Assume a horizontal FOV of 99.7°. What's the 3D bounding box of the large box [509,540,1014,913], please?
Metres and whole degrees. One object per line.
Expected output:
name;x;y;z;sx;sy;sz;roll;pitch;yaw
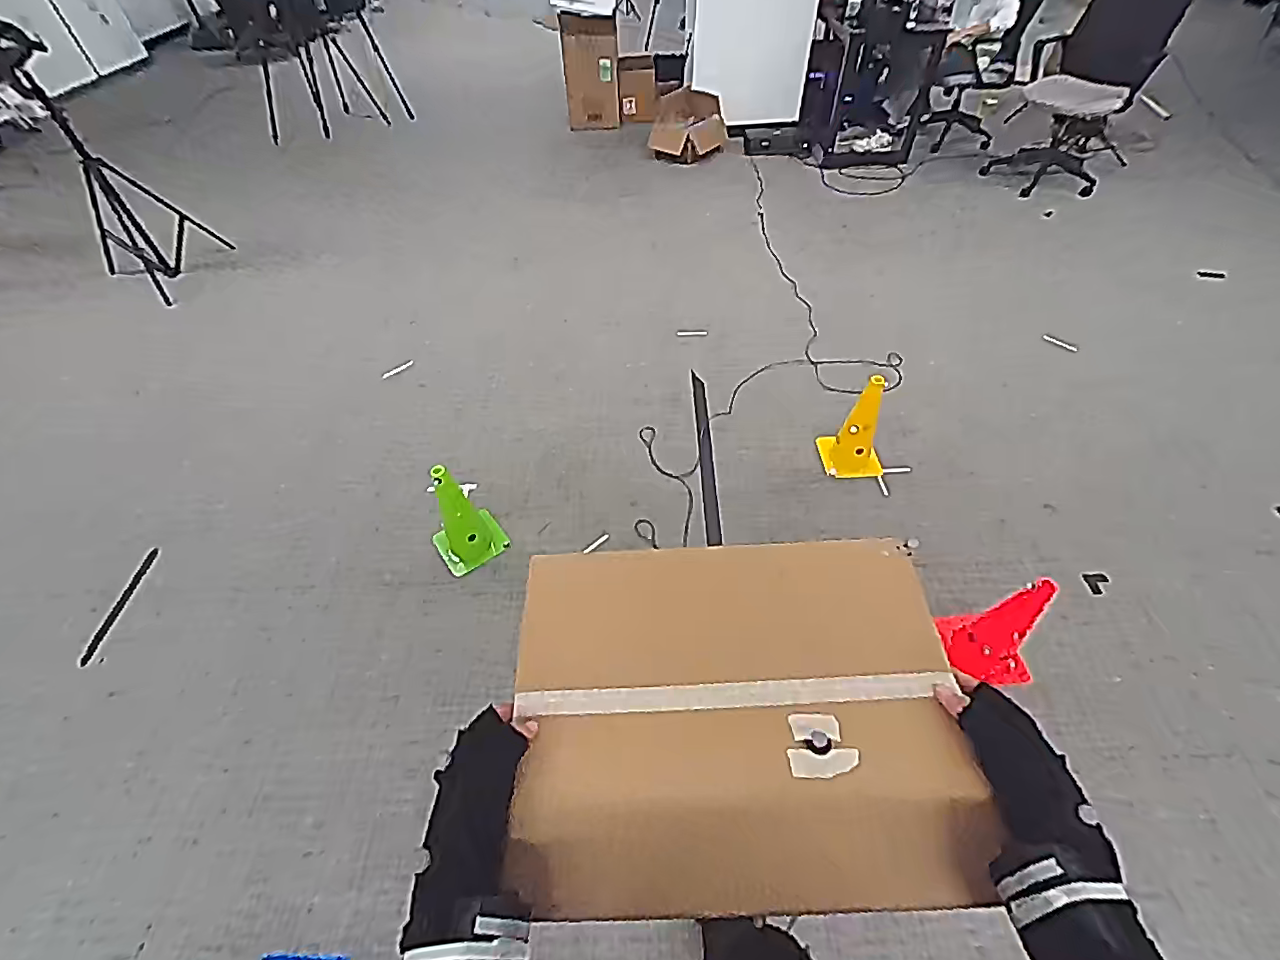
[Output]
large box;0.093;0.290;0.626;0.408;0.320;0.320;-3;53;1

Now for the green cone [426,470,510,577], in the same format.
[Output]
green cone;-0.561;0.095;1.640;0.202;0.368;0.200;-33;55;-21

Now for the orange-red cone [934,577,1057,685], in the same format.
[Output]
orange-red cone;0.928;0.349;1.354;0.198;0.360;0.199;-3;48;-1
